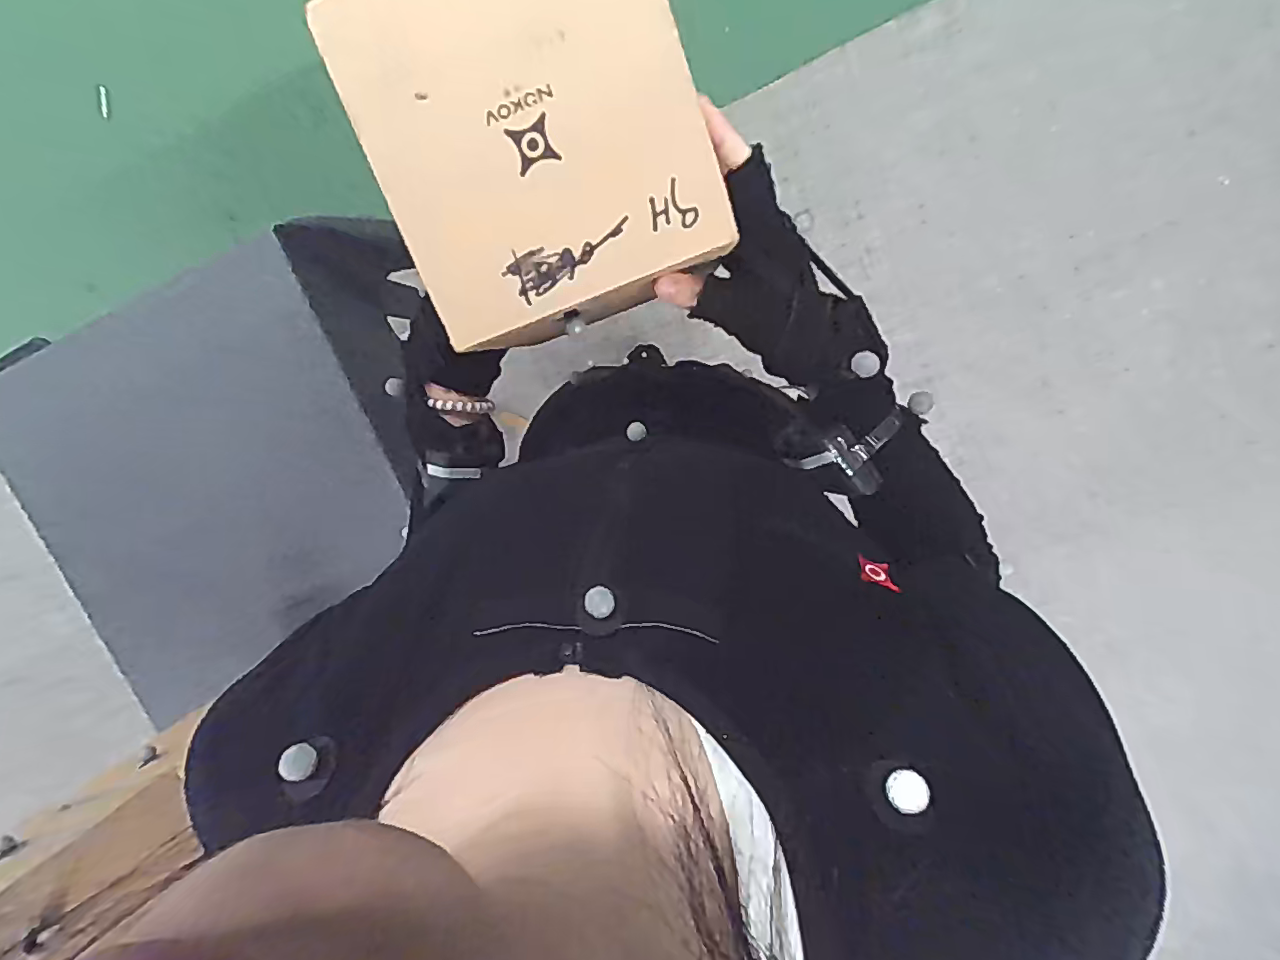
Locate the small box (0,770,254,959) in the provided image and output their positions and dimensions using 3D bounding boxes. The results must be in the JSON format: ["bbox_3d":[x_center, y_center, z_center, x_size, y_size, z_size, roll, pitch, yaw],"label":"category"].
[{"bbox_3d":[-0.497,0.385,0.470,0.168,0.176,0.179,-20,98,10],"label":"small box"}]

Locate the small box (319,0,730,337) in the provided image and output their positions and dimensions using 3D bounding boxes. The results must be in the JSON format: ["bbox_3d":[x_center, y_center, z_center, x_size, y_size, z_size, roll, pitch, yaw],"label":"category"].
[{"bbox_3d":[-0.053,-0.203,0.353,0.168,0.176,0.179,-19,103,8],"label":"small box"}]
